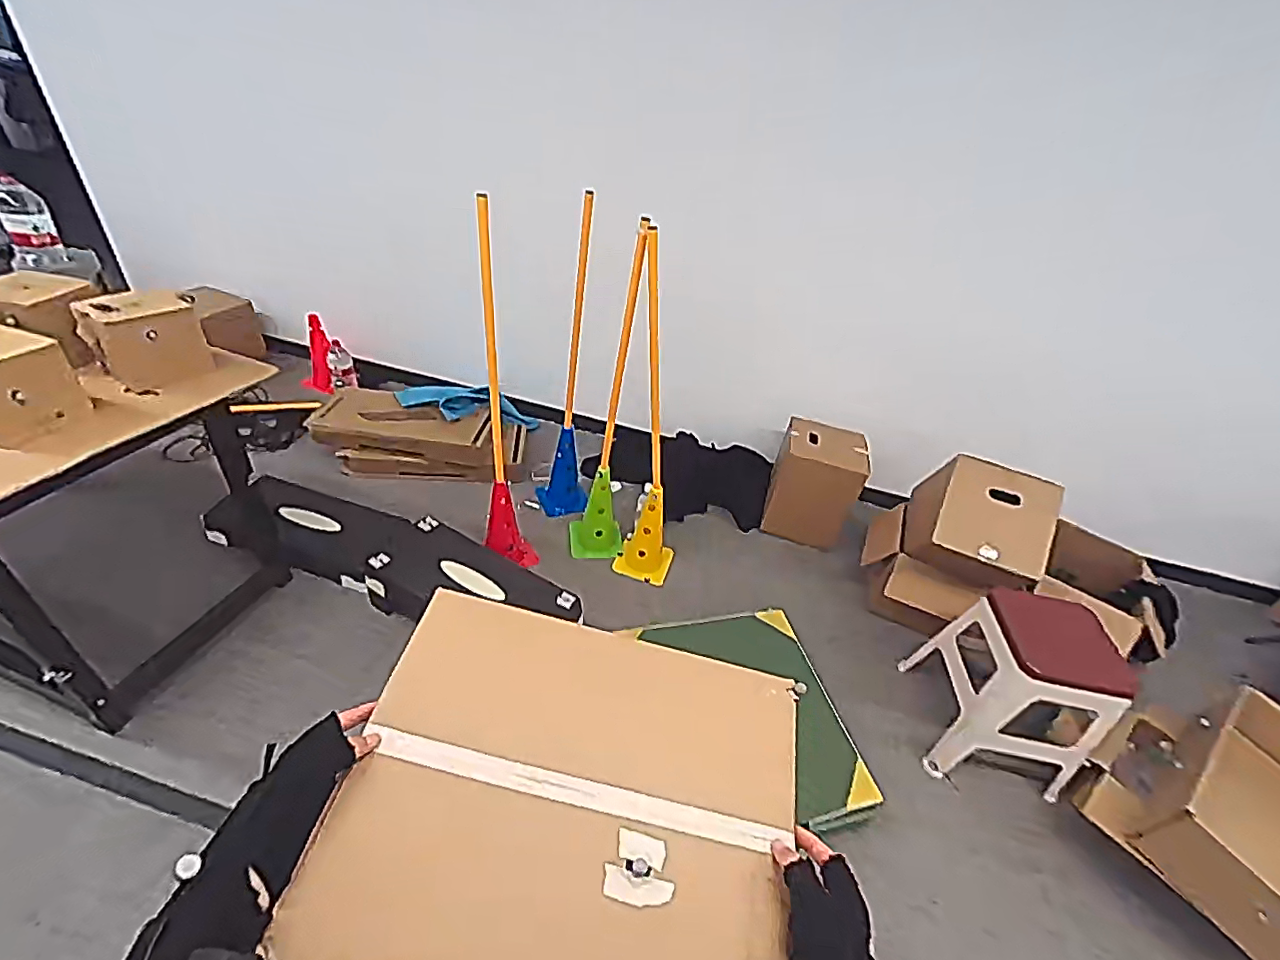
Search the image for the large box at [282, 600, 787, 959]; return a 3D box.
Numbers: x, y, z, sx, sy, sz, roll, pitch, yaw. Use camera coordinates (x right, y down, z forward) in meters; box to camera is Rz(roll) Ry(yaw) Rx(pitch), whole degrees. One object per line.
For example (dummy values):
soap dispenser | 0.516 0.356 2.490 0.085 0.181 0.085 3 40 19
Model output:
large box | -0.081 0.385 0.619 0.408 0.320 0.320 15 49 0
